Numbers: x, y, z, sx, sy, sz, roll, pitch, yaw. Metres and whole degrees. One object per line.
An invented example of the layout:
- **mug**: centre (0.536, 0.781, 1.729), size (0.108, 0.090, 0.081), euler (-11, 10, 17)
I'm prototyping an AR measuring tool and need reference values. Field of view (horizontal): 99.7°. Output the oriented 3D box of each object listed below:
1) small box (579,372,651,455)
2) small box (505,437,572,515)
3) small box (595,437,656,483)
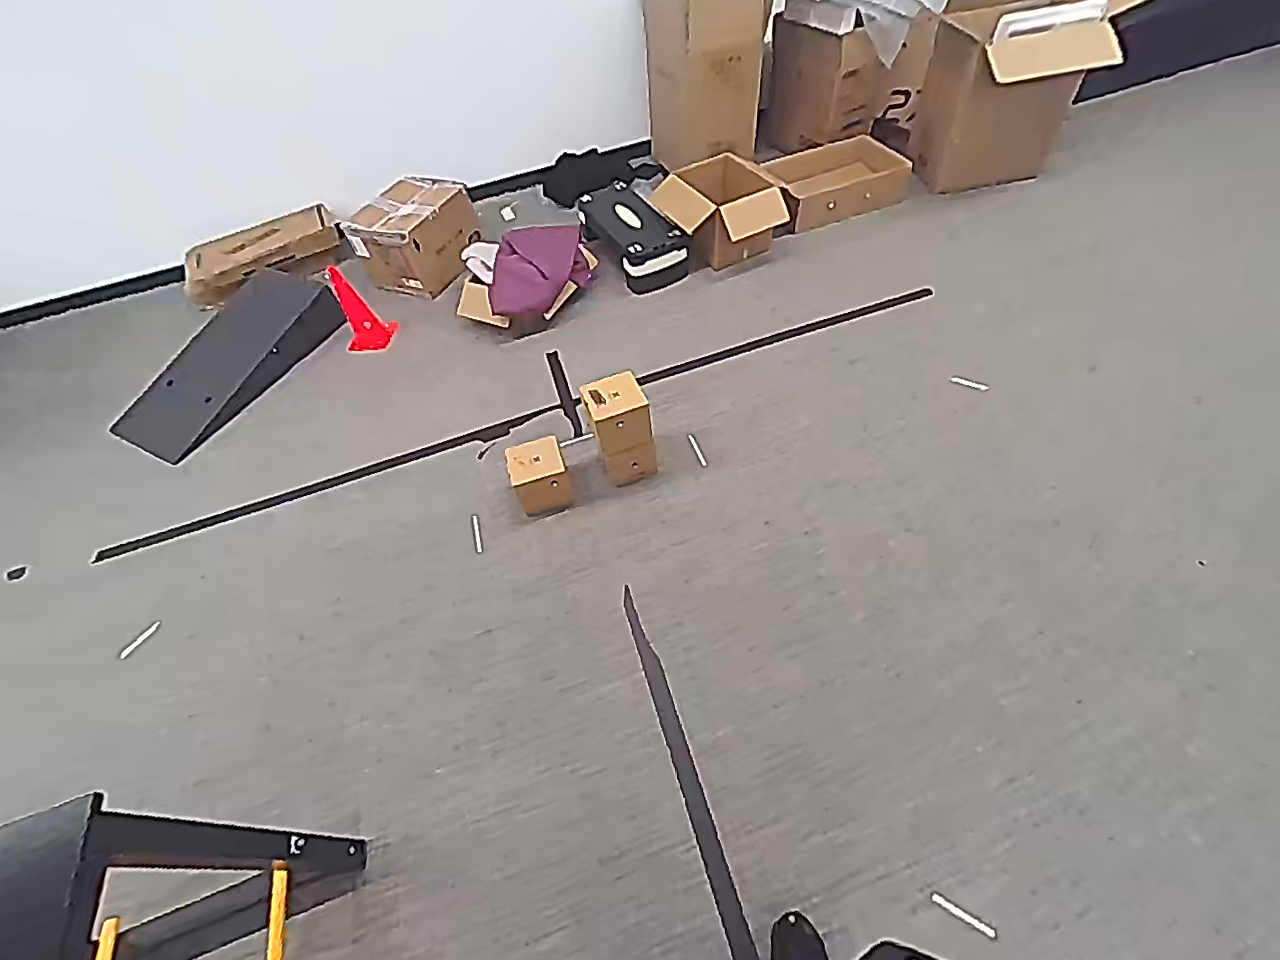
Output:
- **small box**: centre (-0.075, -0.204, 1.701), size (0.179, 0.176, 0.168), euler (-20, 53, -8)
- **small box**: centre (-0.331, -0.011, 1.796), size (0.179, 0.176, 0.168), euler (-18, 53, -5)
- **small box**: centre (-0.052, -0.109, 1.836), size (0.168, 0.176, 0.179), euler (-20, 54, -8)
